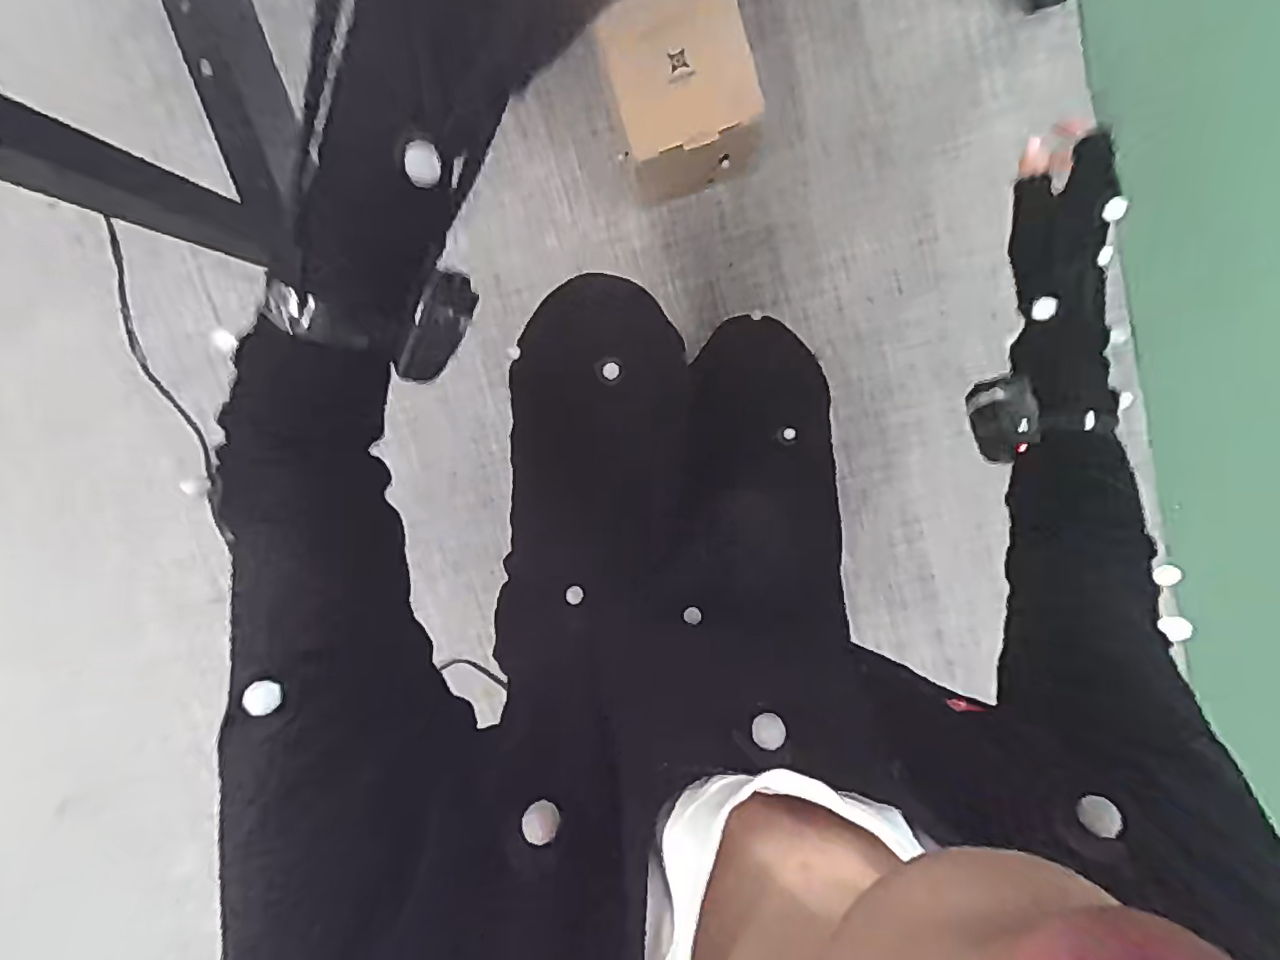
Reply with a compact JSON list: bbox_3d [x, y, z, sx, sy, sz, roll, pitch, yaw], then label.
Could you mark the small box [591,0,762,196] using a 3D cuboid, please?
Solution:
[{"bbox_3d":[0.049,-0.503,0.712,0.168,0.176,0.179,-17,95,5],"label":"small box"}]
